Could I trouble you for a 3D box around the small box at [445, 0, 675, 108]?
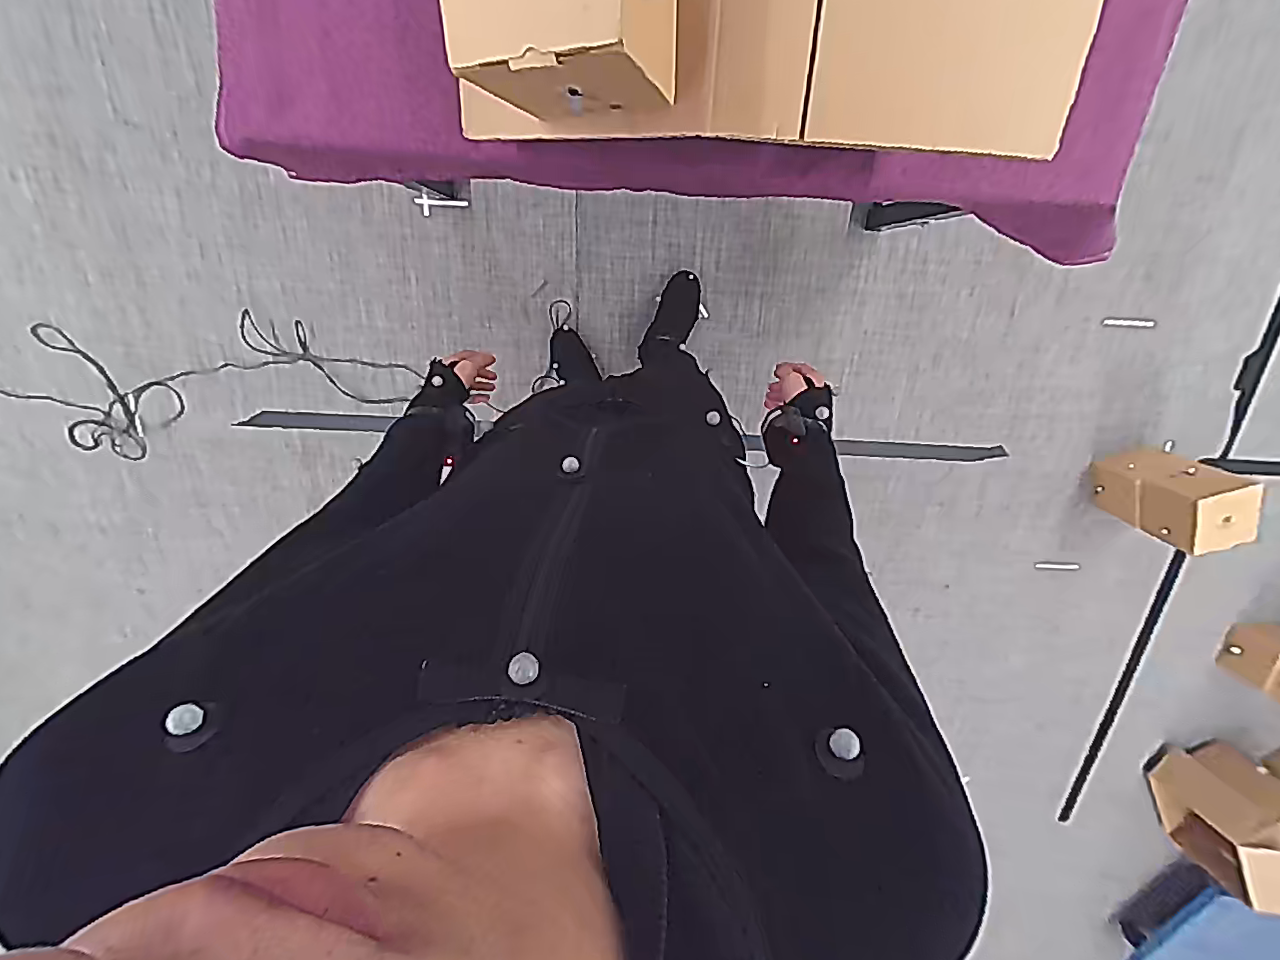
[{"bbox_3d":[-0.065,-0.464,0.498,0.168,0.176,0.179,6,112,16],"label":"small box"}]
